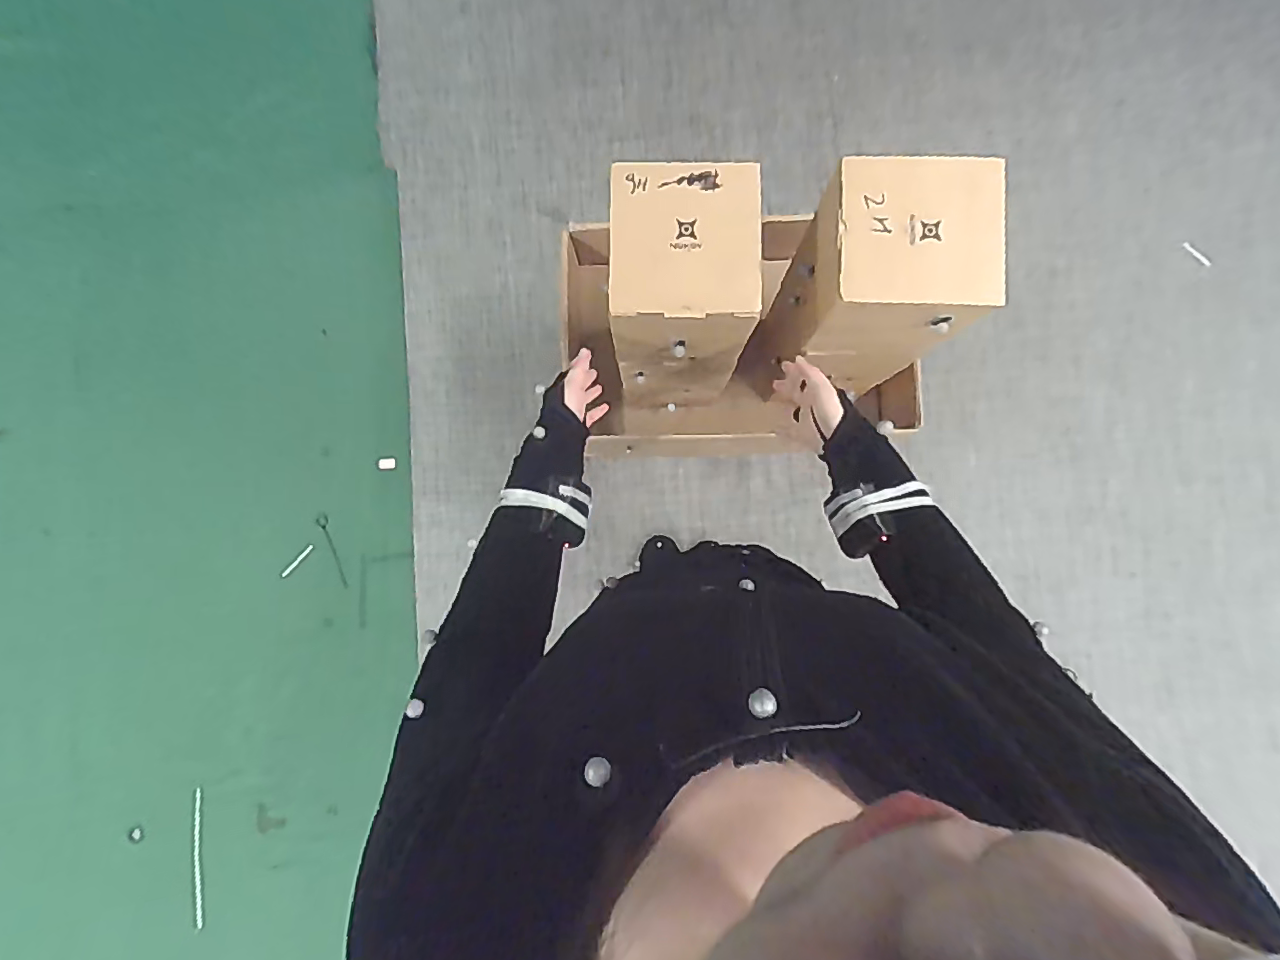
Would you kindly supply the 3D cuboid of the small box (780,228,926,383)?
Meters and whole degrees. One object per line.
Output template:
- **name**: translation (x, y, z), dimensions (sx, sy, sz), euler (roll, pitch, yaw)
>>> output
- **small box**: translation (0.311, -0.255, 0.820), dimensions (0.168, 0.176, 0.179), euler (1, 86, 4)
